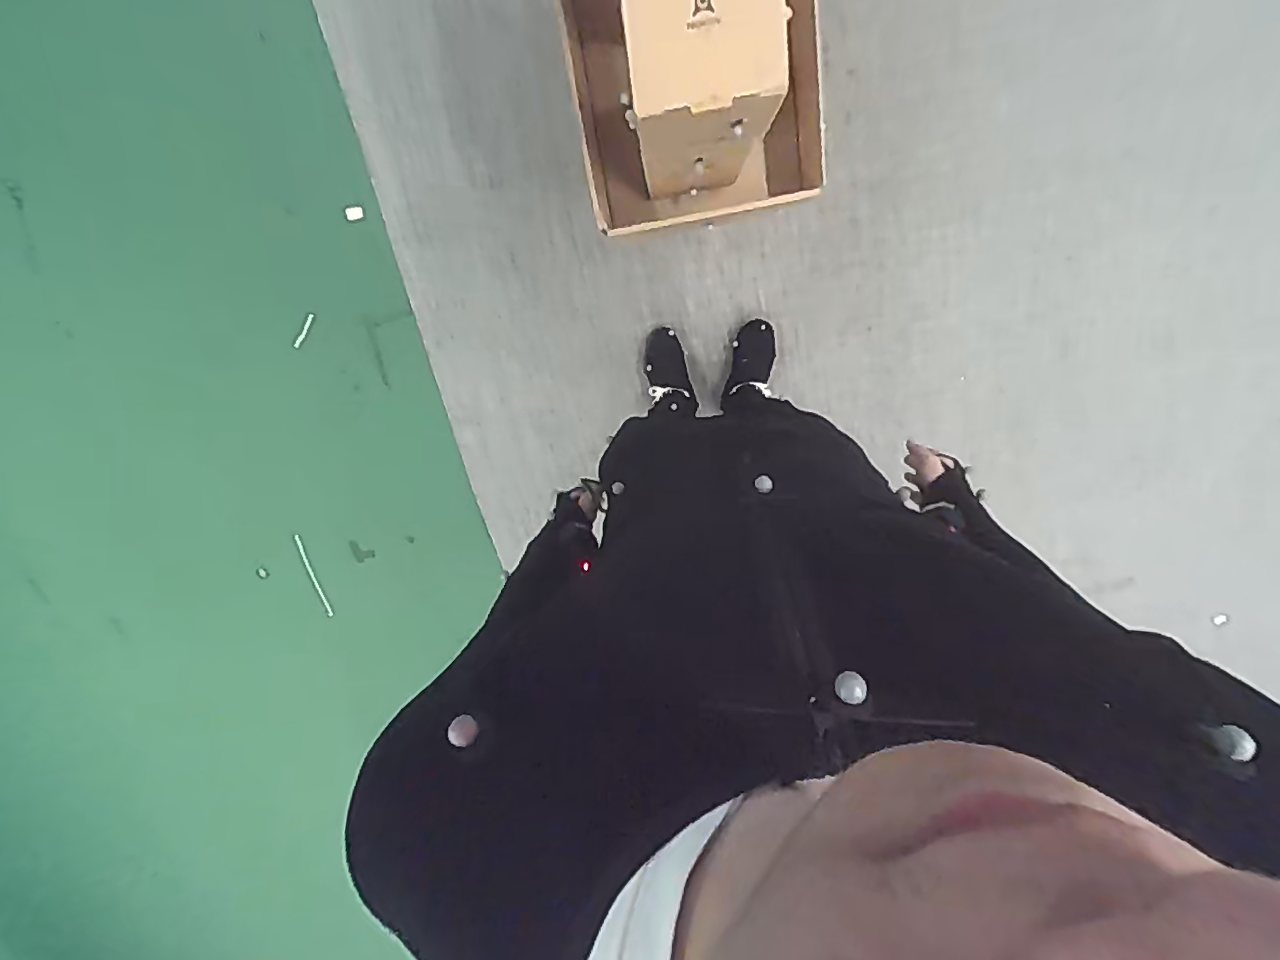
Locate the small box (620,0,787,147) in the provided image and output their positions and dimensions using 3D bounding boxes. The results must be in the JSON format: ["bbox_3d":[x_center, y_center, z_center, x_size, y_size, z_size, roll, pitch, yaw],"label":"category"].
[{"bbox_3d":[0.069,-0.502,0.616,0.168,0.176,0.179,-6,107,6],"label":"small box"}]

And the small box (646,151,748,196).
[{"bbox_3d":[0.086,-0.609,0.924,0.168,0.176,0.179,-7,107,7],"label":"small box"}]

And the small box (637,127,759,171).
[{"bbox_3d":[0.074,-0.558,0.770,0.168,0.176,0.179,-8,108,6],"label":"small box"}]
